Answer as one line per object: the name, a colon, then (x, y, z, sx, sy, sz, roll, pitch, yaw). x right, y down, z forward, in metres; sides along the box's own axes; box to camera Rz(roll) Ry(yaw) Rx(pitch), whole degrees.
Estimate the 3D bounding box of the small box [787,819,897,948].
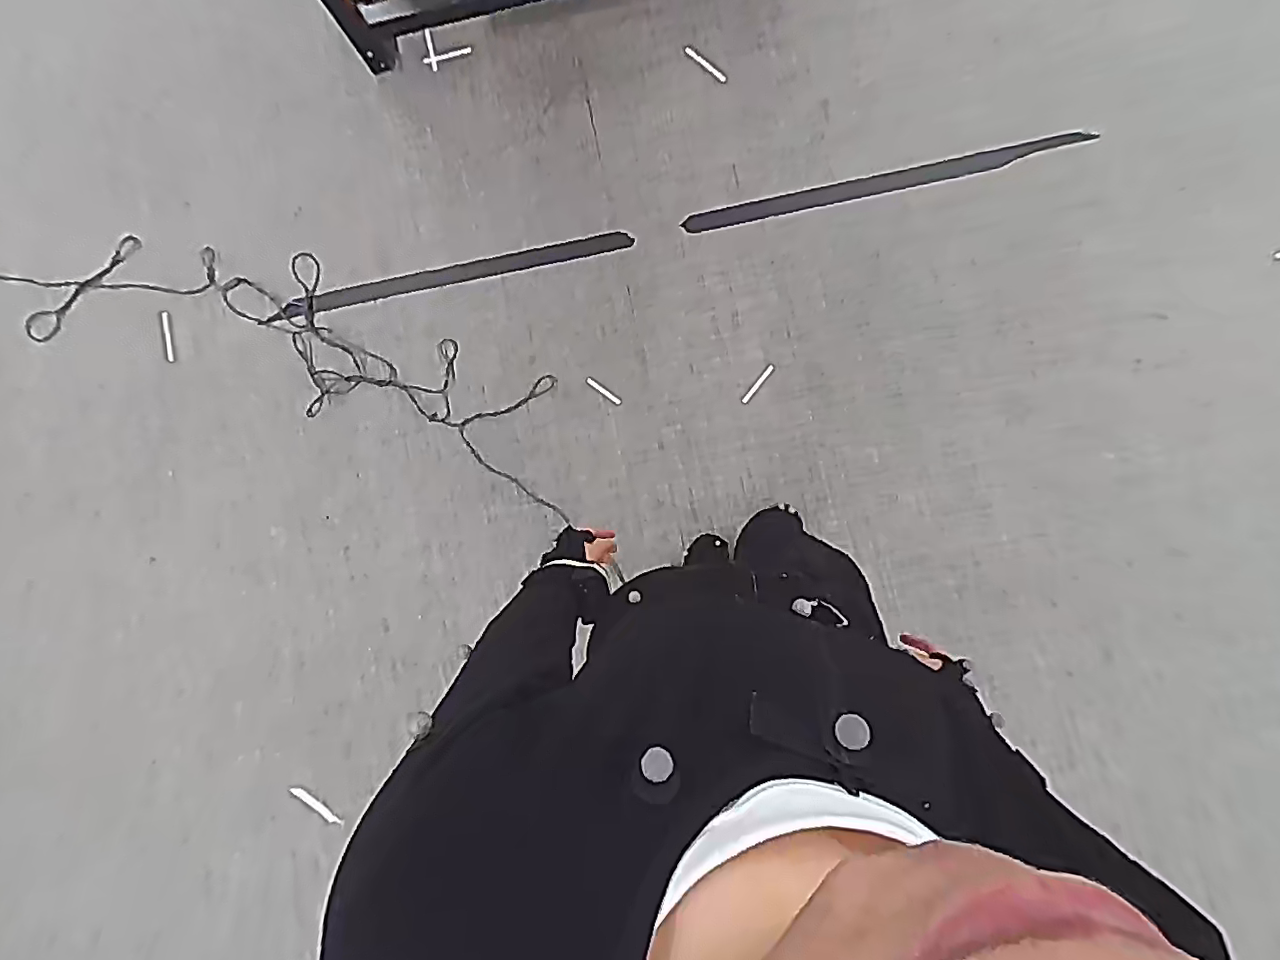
small box: (0.458, 0.924, 1.244, 0.179, 0.176, 0.168, -11, 87, 3)
